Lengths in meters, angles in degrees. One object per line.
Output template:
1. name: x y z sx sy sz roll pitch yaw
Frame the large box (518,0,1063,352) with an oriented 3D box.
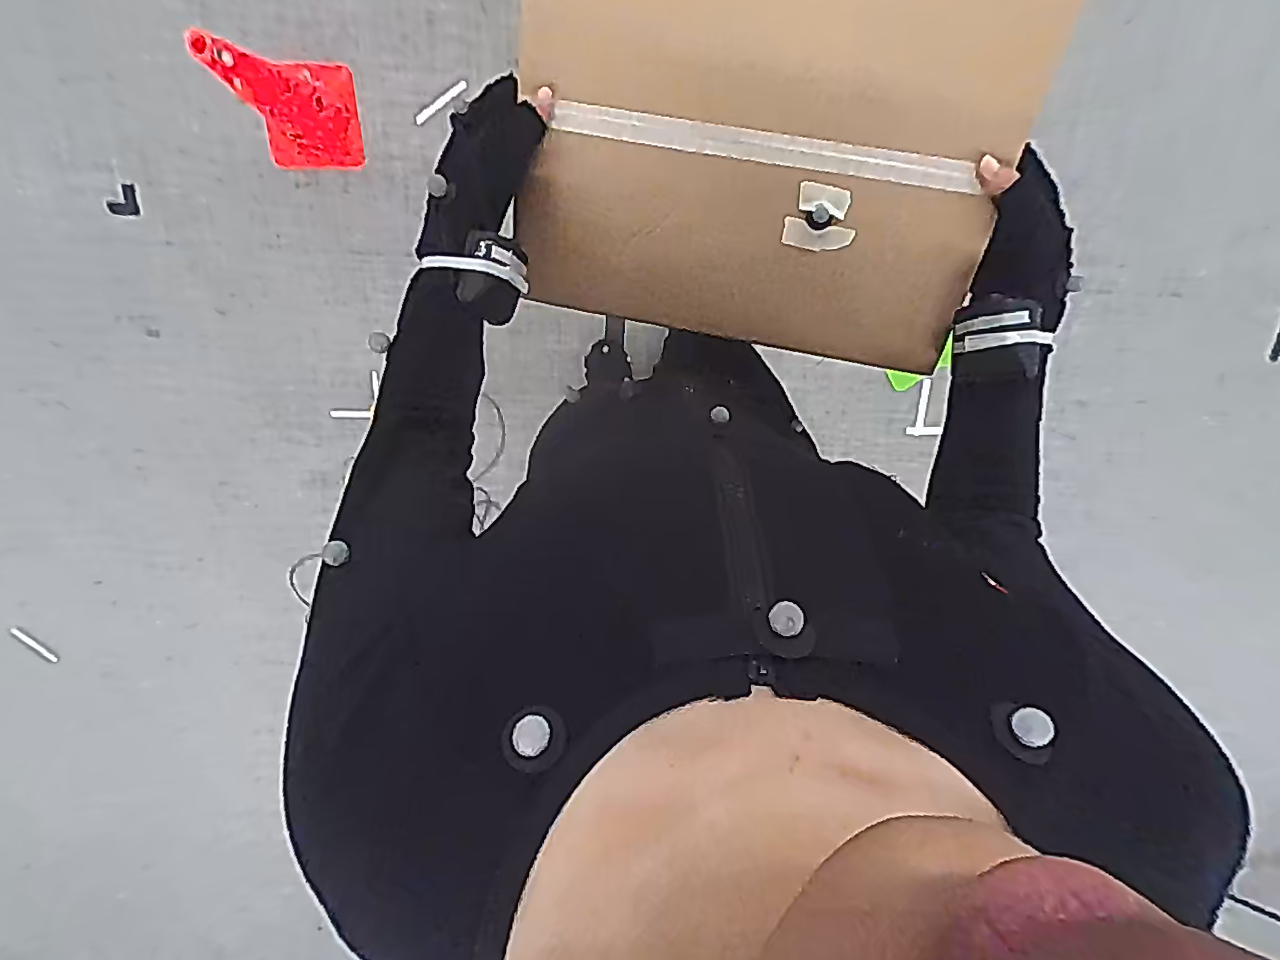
1. large box: 0.114 -0.348 0.579 0.408 0.320 0.320 11 116 4

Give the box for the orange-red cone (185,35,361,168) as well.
1. orange-red cone: -0.714 -0.742 1.026 0.198 0.360 0.199 0 109 -3

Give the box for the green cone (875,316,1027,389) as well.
1. green cone: 0.744 -0.316 1.264 0.202 0.368 0.200 -35 108 6
